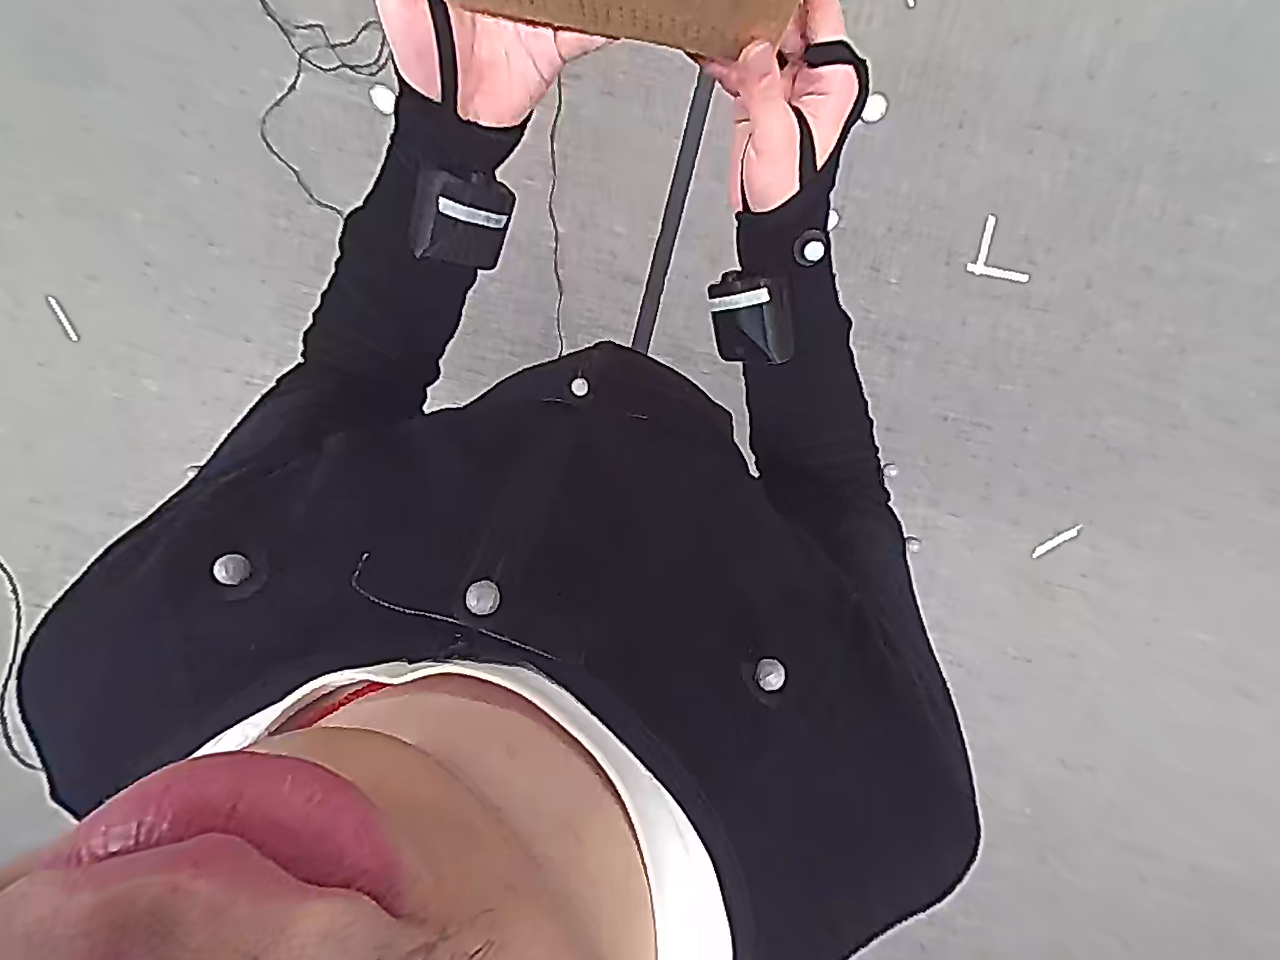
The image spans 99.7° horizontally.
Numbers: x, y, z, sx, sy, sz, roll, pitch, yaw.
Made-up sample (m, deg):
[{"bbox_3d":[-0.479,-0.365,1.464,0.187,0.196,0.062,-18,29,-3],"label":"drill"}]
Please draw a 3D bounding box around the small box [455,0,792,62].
[{"bbox_3d":[-0.002,-0.289,0.193,0.179,0.176,0.168,9,105,-2],"label":"small box"}]
